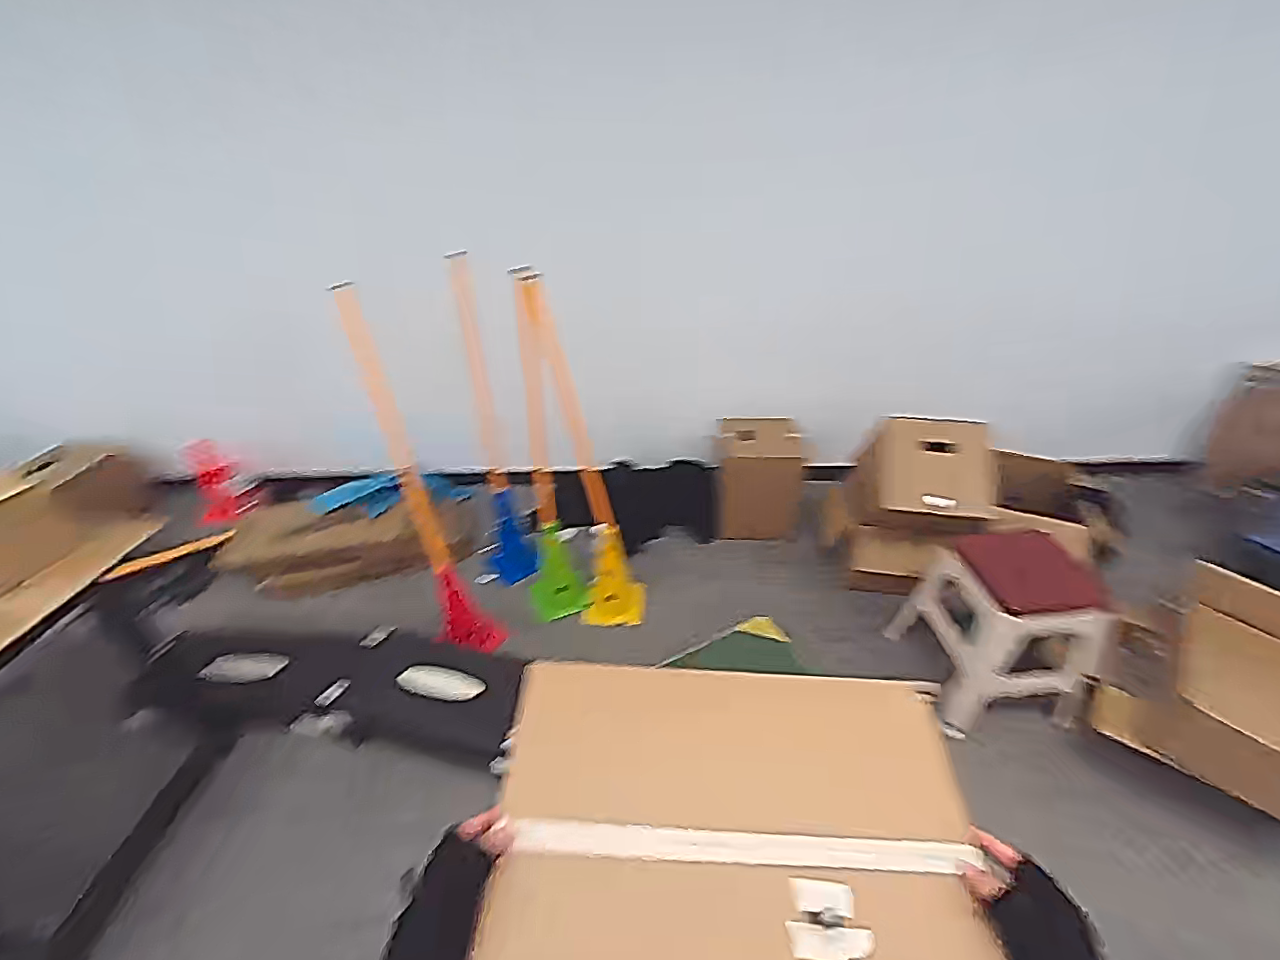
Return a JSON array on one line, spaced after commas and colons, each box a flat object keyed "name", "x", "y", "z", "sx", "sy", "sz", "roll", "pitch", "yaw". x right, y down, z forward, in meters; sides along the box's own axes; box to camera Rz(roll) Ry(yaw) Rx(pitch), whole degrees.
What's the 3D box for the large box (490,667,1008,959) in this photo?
[{"name": "large box", "x": 0.083, "y": 0.421, "z": 0.566, "sx": 0.408, "sy": 0.320, "sz": 0.320, "roll": 3, "pitch": 44, "yaw": 2}]
